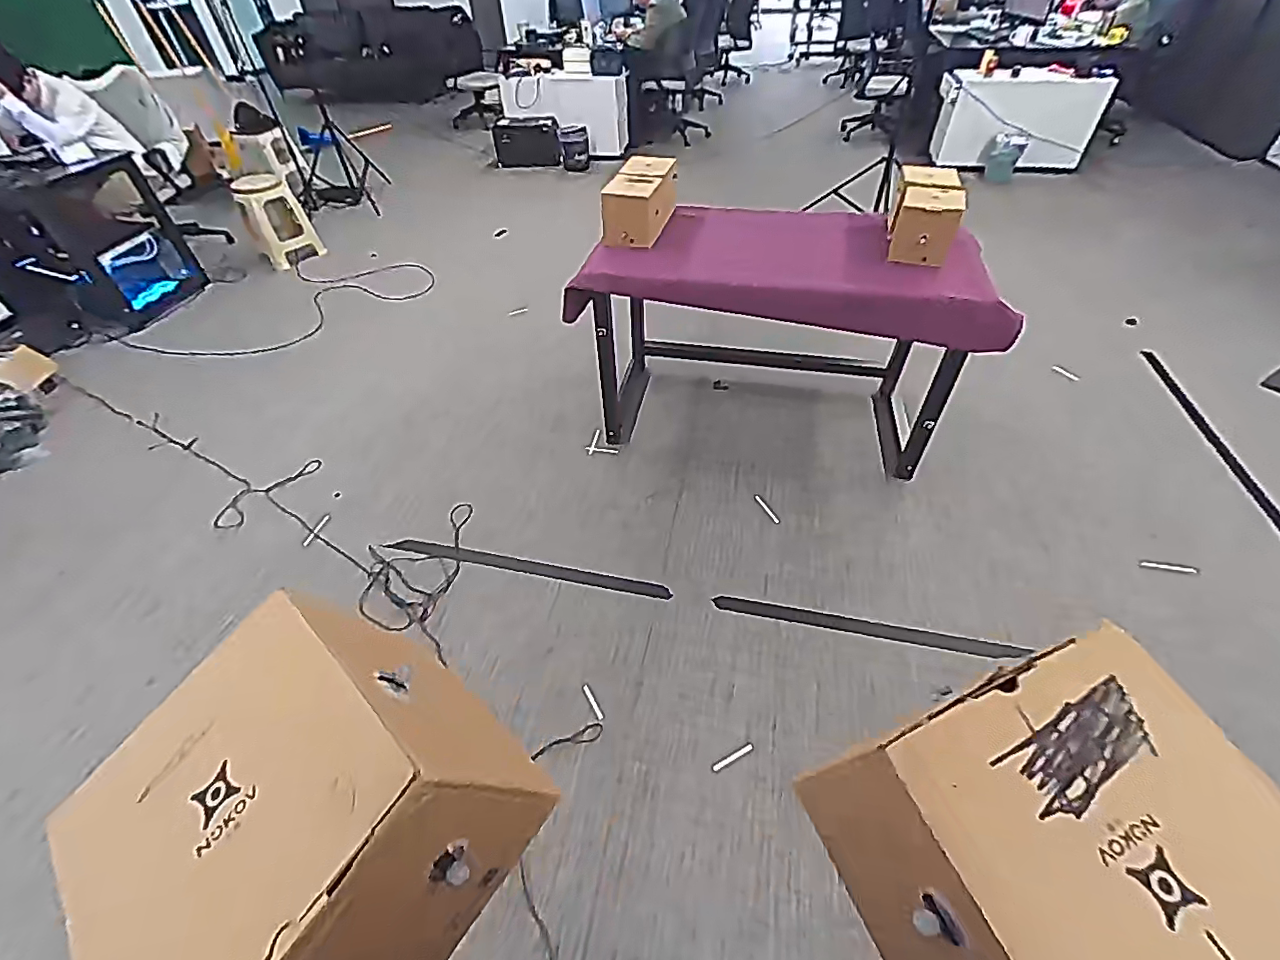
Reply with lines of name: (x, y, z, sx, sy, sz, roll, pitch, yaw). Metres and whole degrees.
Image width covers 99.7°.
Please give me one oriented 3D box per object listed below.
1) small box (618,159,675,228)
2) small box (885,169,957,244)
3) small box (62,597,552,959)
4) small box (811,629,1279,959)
small box: (0.025, -1.031, 1.946, 0.168, 0.176, 0.179, 11, 48, 13)
small box: (0.922, -0.906, 1.790, 0.168, 0.176, 0.179, 11, 47, 12)
small box: (-0.188, 0.209, 0.344, 0.179, 0.176, 0.168, 27, 70, 32)
small box: (0.226, 0.217, 0.309, 0.168, 0.176, 0.179, -18, 59, -13)
